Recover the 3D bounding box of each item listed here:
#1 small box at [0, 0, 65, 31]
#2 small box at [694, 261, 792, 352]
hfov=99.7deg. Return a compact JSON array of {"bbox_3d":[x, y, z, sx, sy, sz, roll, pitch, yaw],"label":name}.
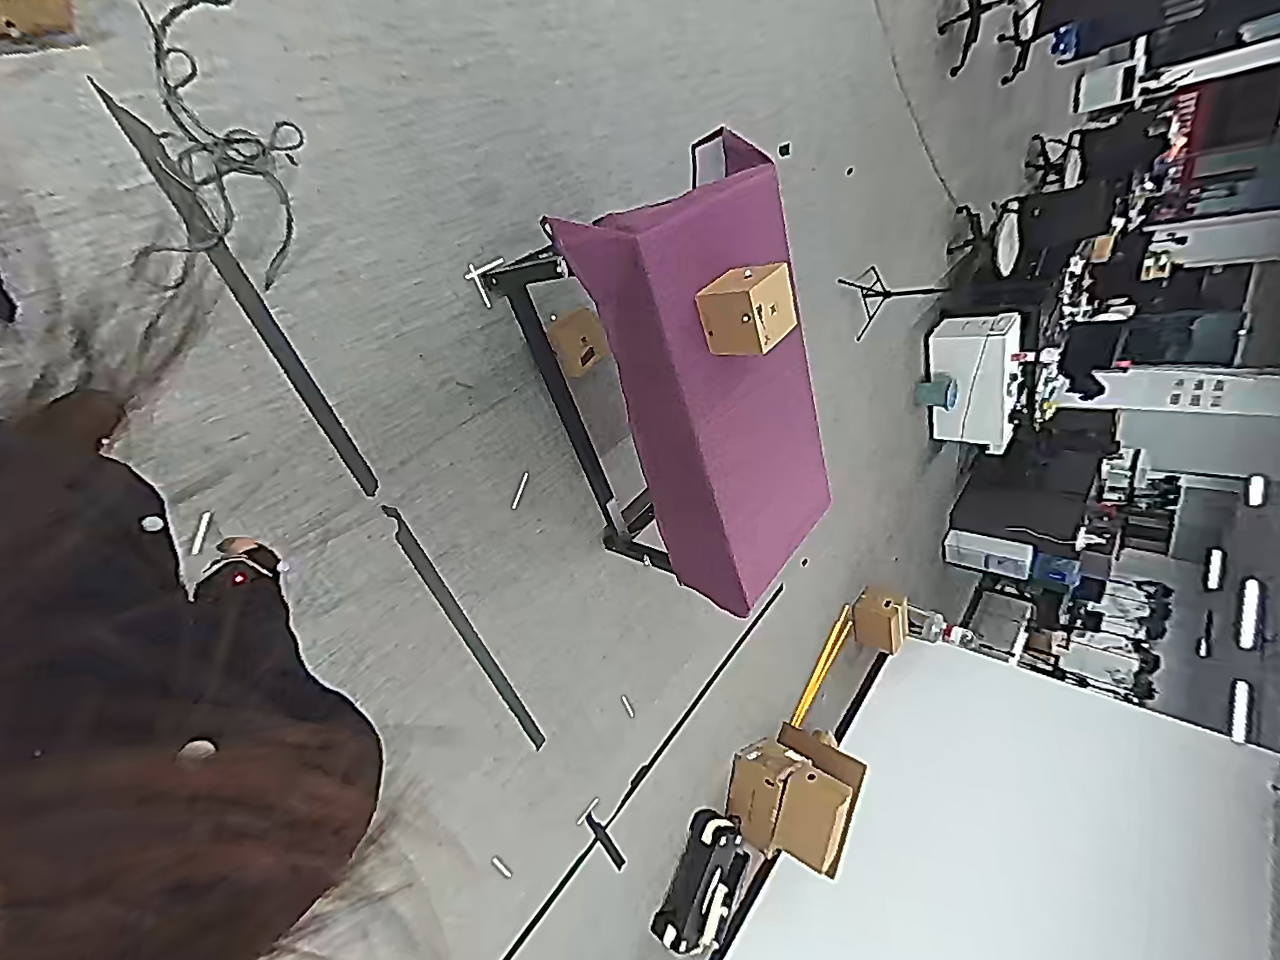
[{"bbox_3d":[-1.130,-0.894,0.905,0.168,0.176,0.179,-40,126,-32],"label":"small box"},{"bbox_3d":[0.265,-0.444,1.390,0.179,0.176,0.168,-44,127,-31],"label":"small box"}]
